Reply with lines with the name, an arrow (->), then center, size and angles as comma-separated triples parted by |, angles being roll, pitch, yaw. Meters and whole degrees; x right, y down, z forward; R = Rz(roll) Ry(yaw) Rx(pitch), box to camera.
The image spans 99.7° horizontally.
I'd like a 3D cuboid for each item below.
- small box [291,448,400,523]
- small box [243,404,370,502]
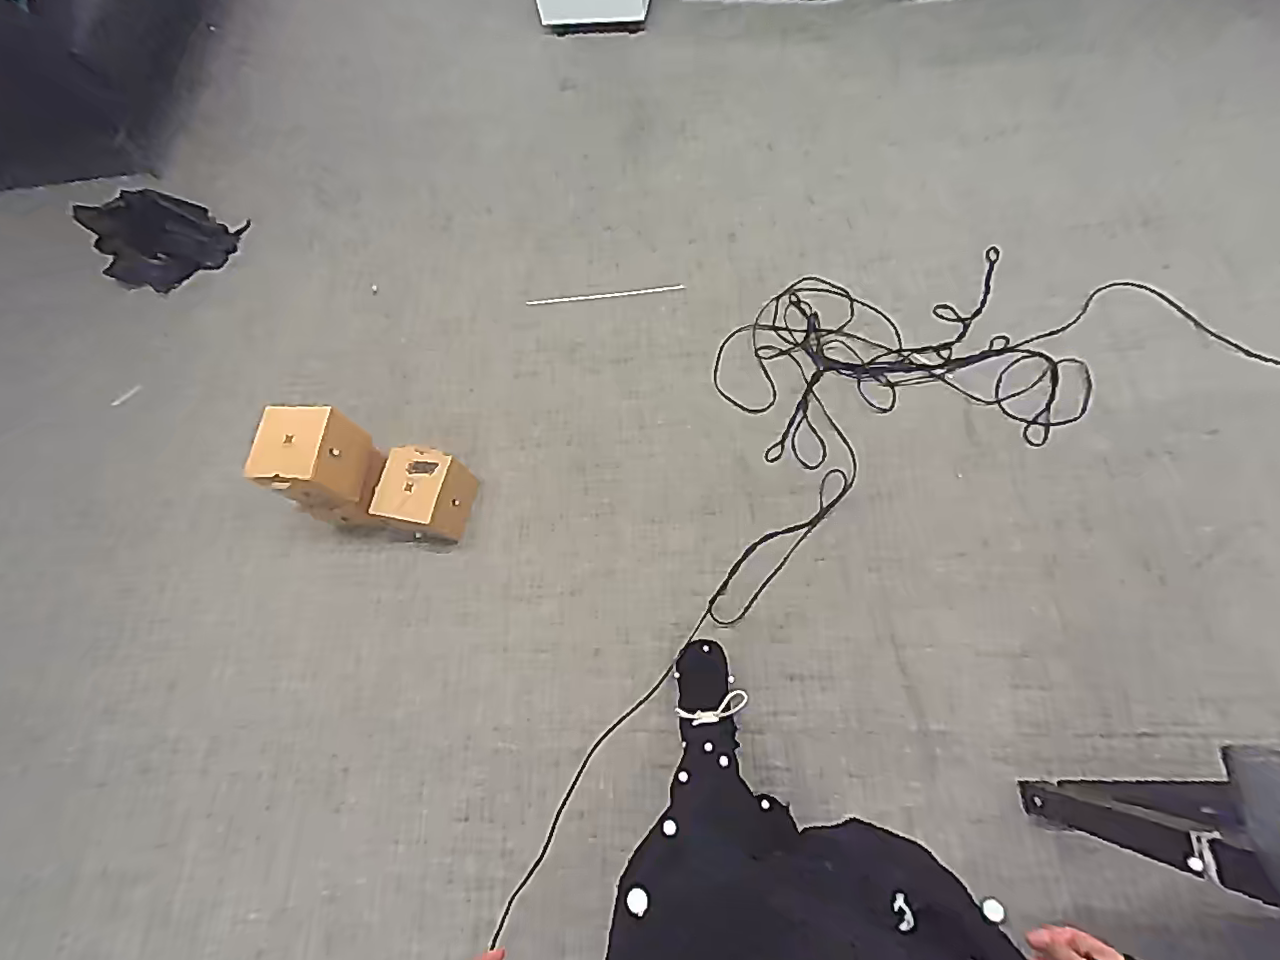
small box -> -0.752, 0.010, 1.403 | 0.168, 0.176, 0.179 | 1, 70, 8
small box -> -0.760, -0.060, 1.255 | 0.168, 0.176, 0.179 | 1, 70, 8
